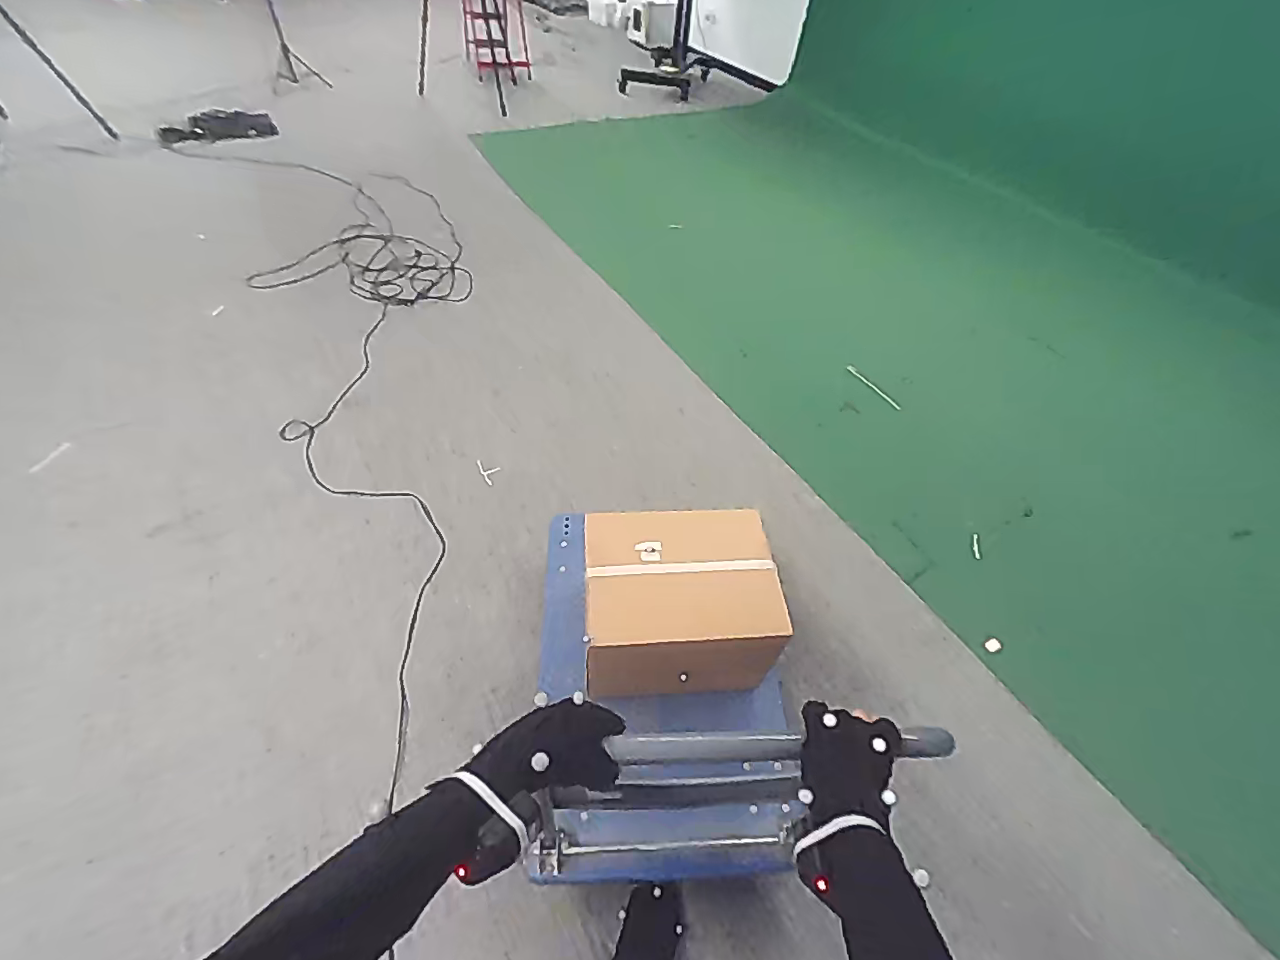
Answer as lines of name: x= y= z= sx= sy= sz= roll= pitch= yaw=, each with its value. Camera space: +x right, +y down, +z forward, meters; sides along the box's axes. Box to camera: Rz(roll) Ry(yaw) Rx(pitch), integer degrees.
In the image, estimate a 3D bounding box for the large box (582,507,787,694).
large box: x=0.075 y=0.284 z=1.259 sx=0.408 sy=0.320 sz=0.320 roll=-2 pitch=50 yaw=-6
